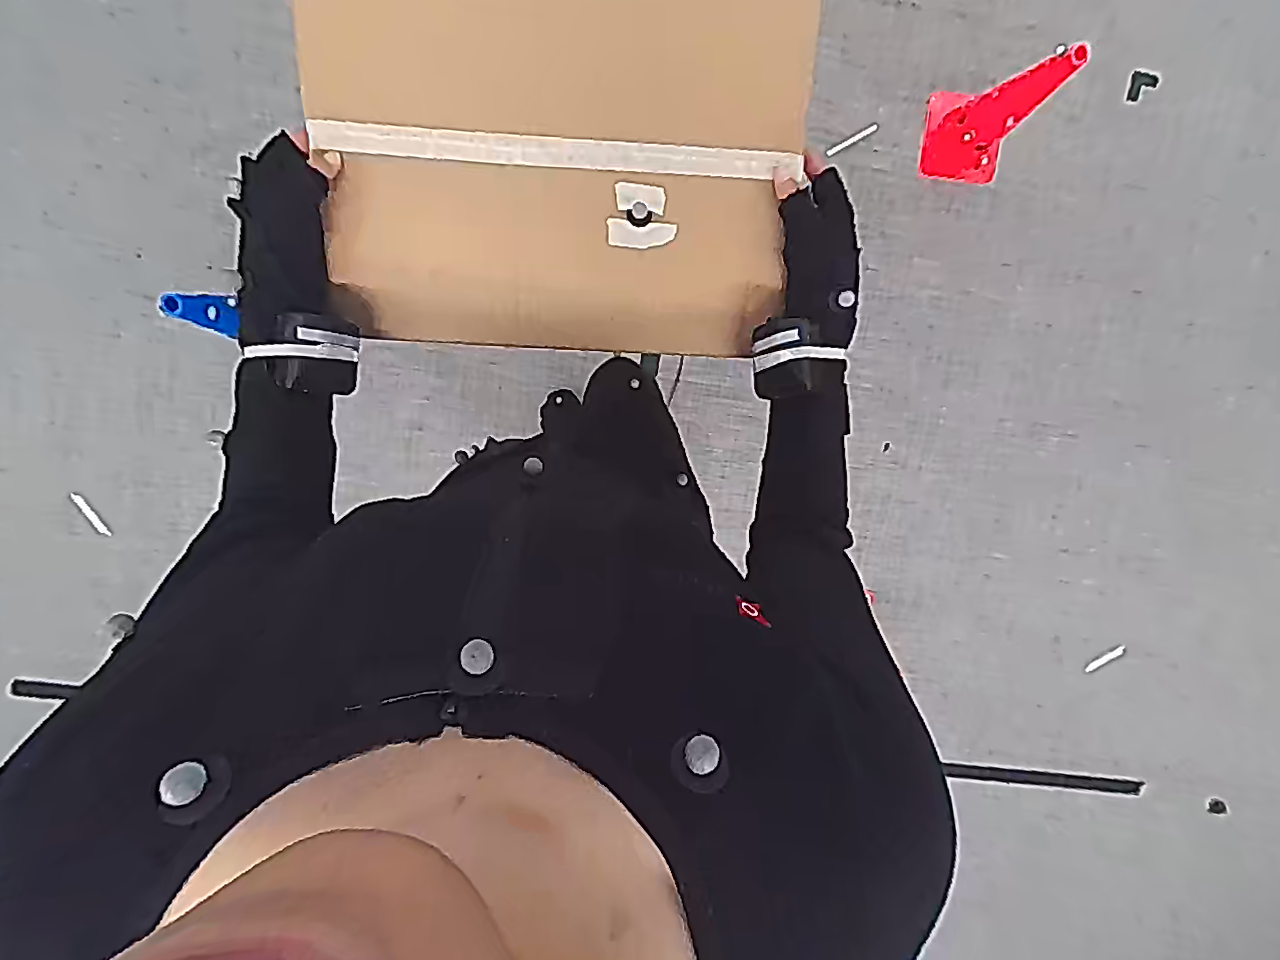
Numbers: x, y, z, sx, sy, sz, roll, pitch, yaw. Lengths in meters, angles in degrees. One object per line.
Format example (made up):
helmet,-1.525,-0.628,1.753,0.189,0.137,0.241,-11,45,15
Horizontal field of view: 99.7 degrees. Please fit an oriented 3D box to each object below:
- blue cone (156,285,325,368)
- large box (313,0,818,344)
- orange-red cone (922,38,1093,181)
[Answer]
blue cone,-0.898,-0.361,1.212,0.192,0.380,0.193,11,99,-3
large box,-0.070,-0.319,0.596,0.408,0.320,0.320,2,106,-4
orange-red cone,0.825,-0.843,1.191,0.198,0.360,0.199,5,98,-4
